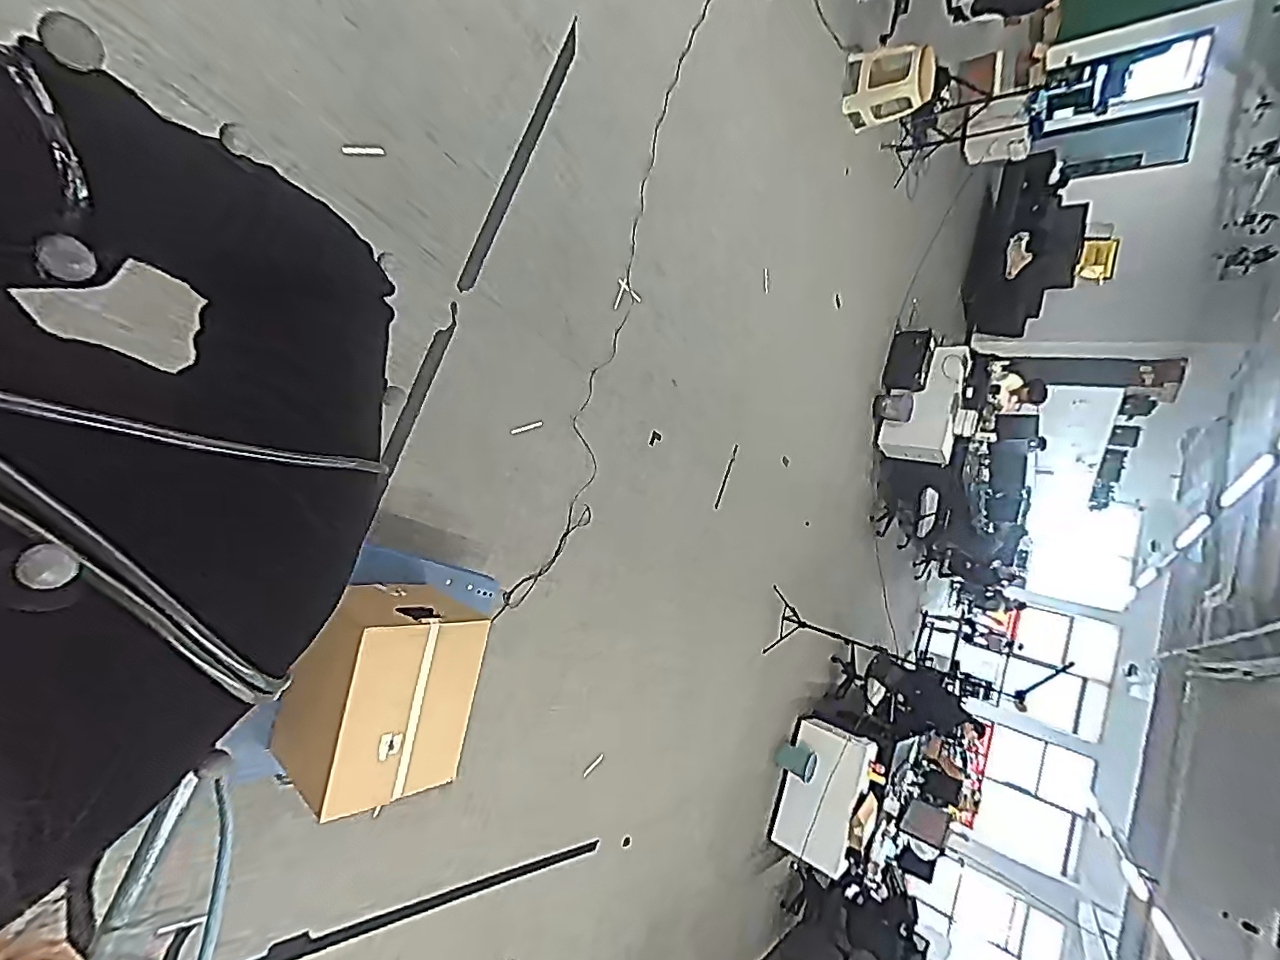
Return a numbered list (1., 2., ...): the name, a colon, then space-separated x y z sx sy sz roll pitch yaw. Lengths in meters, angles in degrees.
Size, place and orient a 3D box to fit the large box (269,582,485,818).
1. large box: -0.622 0.478 1.286 0.320 0.320 0.408 14 89 -51
